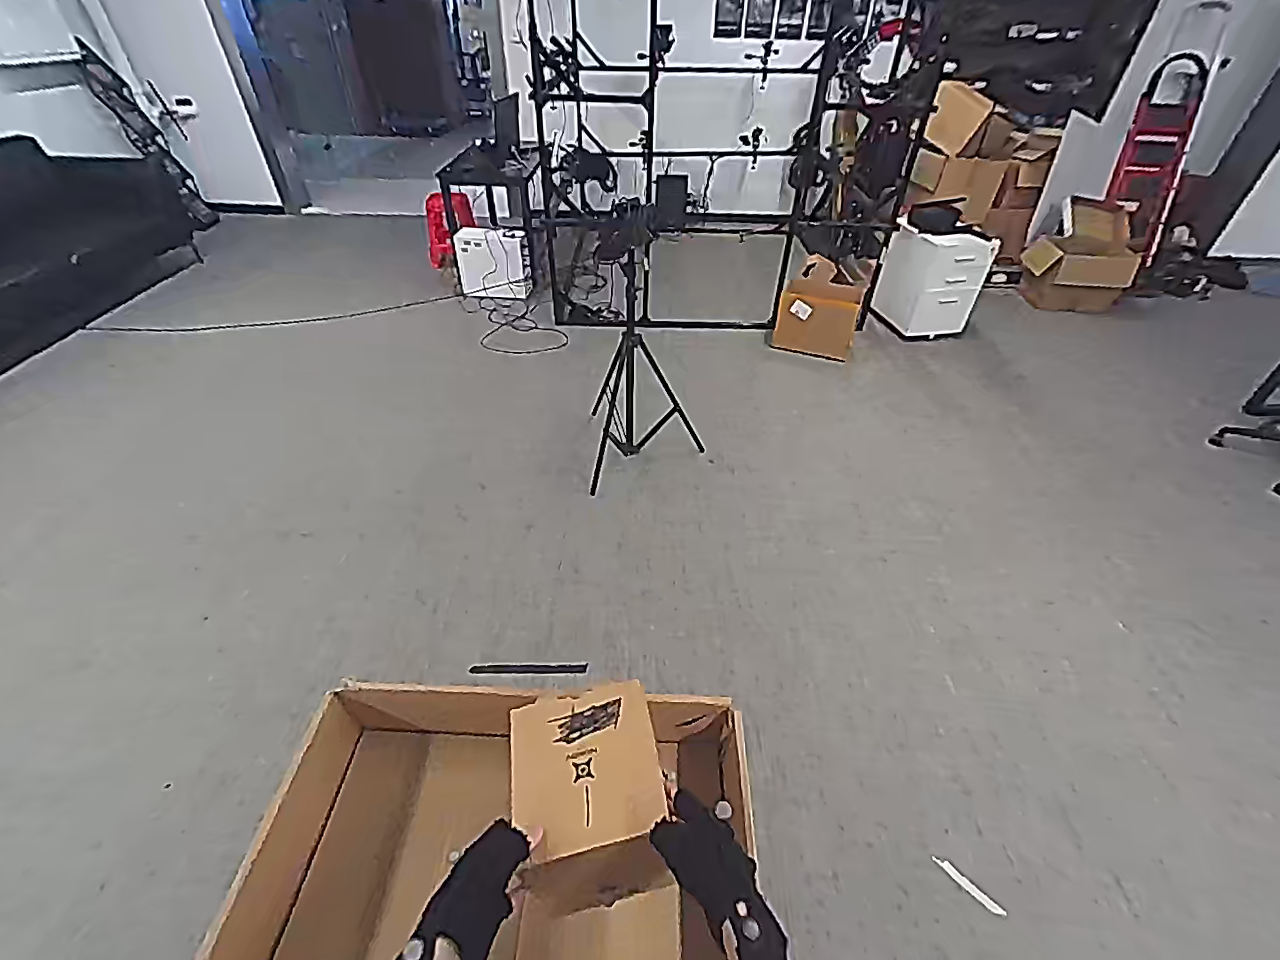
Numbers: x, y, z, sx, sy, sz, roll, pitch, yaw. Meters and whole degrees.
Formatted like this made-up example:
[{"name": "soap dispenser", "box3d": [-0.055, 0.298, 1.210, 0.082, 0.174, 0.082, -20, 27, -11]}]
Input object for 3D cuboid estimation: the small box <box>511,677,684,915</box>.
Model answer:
[{"name": "small box", "box3d": [-0.051, 0.373, 0.645, 0.168, 0.176, 0.179, -14, 38, -4]}]
